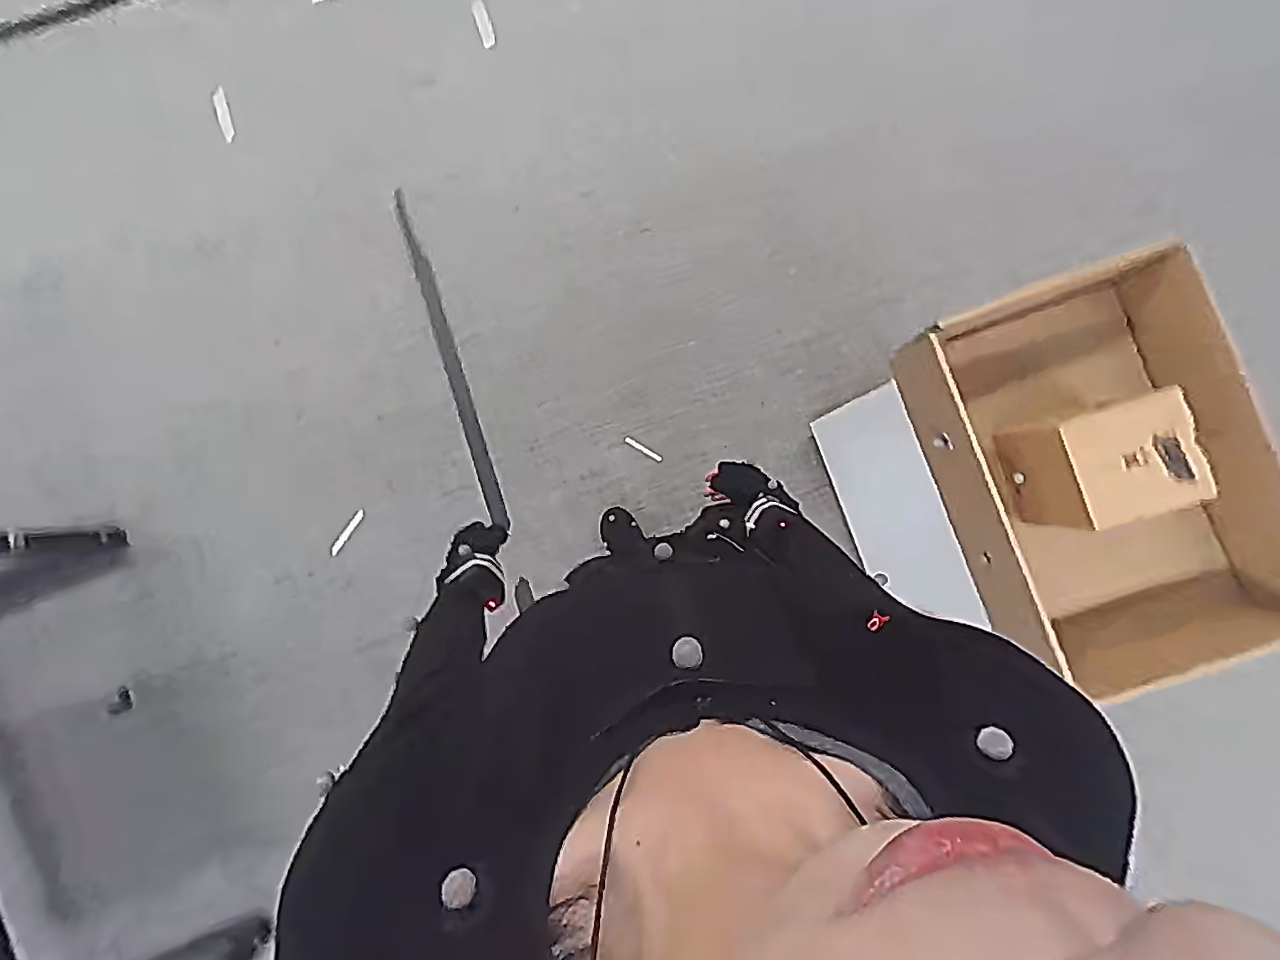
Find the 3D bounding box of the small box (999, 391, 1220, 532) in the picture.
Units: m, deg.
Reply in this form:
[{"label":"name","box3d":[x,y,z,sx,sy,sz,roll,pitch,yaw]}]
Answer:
[{"label":"small box","box3d":[0.718,-0.026,0.849,0.179,0.176,0.168,-18,87,4]}]
